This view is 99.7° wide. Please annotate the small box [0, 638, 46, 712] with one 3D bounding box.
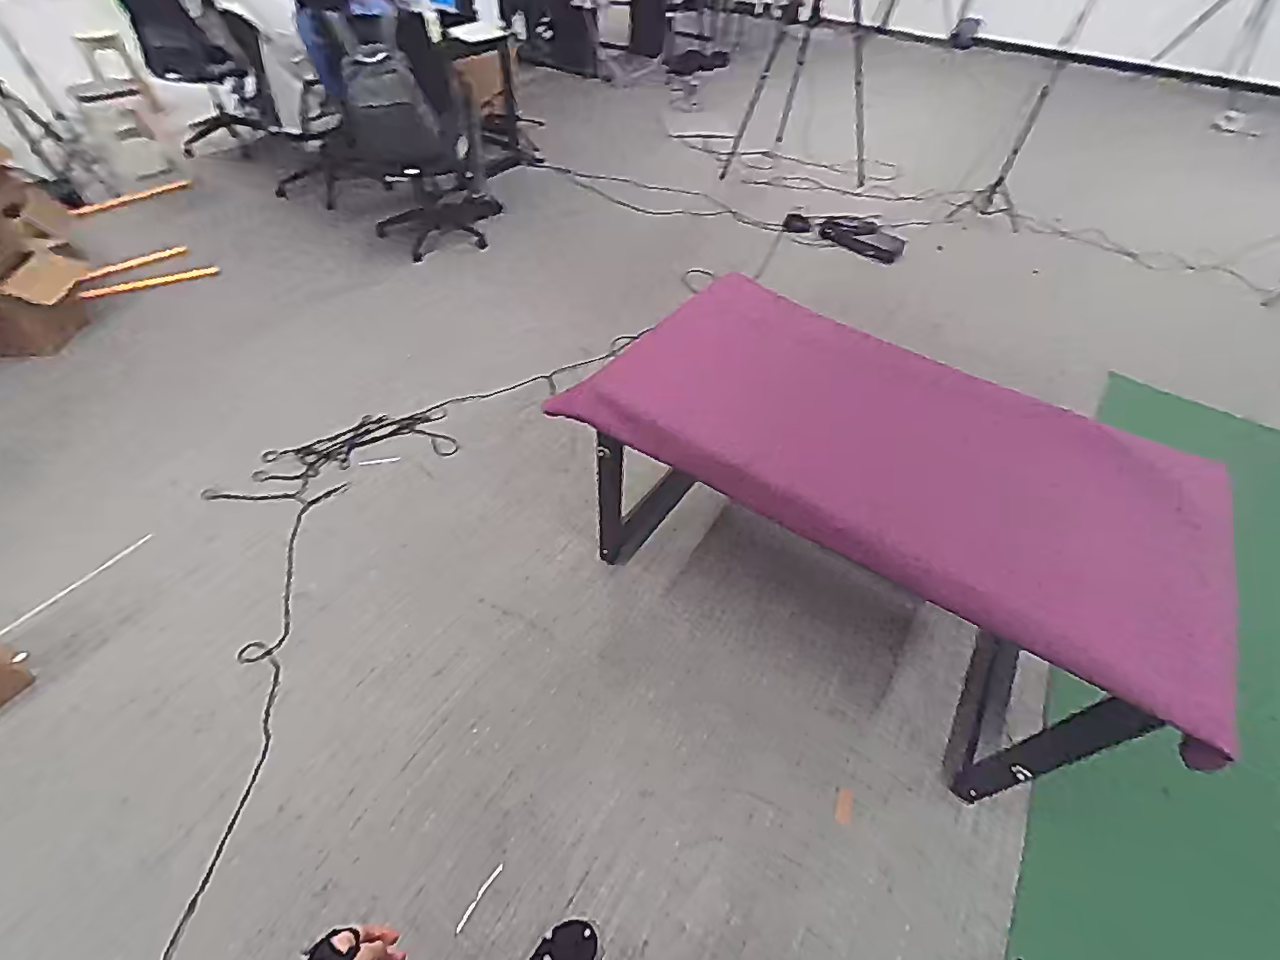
[{"bbox_3d":[-1.695,0.504,1.366,0.168,0.176,0.179,27,53,19],"label":"small box"}]
